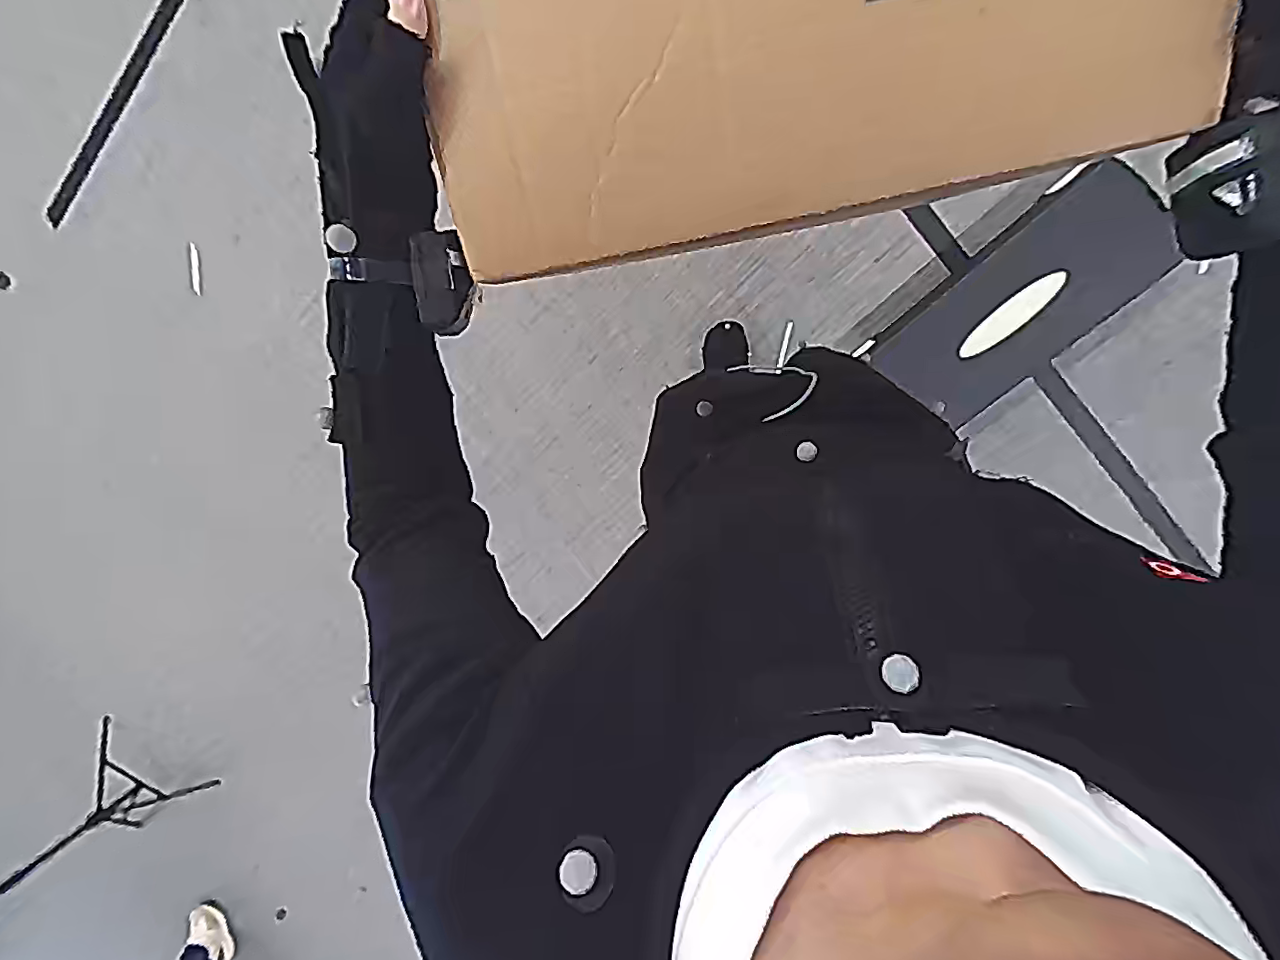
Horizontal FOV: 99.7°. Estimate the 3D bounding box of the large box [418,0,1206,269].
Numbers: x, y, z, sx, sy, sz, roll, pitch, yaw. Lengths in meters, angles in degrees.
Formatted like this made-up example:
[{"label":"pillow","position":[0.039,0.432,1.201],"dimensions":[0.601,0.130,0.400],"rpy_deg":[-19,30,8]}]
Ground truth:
[{"label":"large box","position":[0.081,-0.361,0.403],"dimensions":[0.408,0.320,0.320],"rpy_deg":[-8,112,10]}]
